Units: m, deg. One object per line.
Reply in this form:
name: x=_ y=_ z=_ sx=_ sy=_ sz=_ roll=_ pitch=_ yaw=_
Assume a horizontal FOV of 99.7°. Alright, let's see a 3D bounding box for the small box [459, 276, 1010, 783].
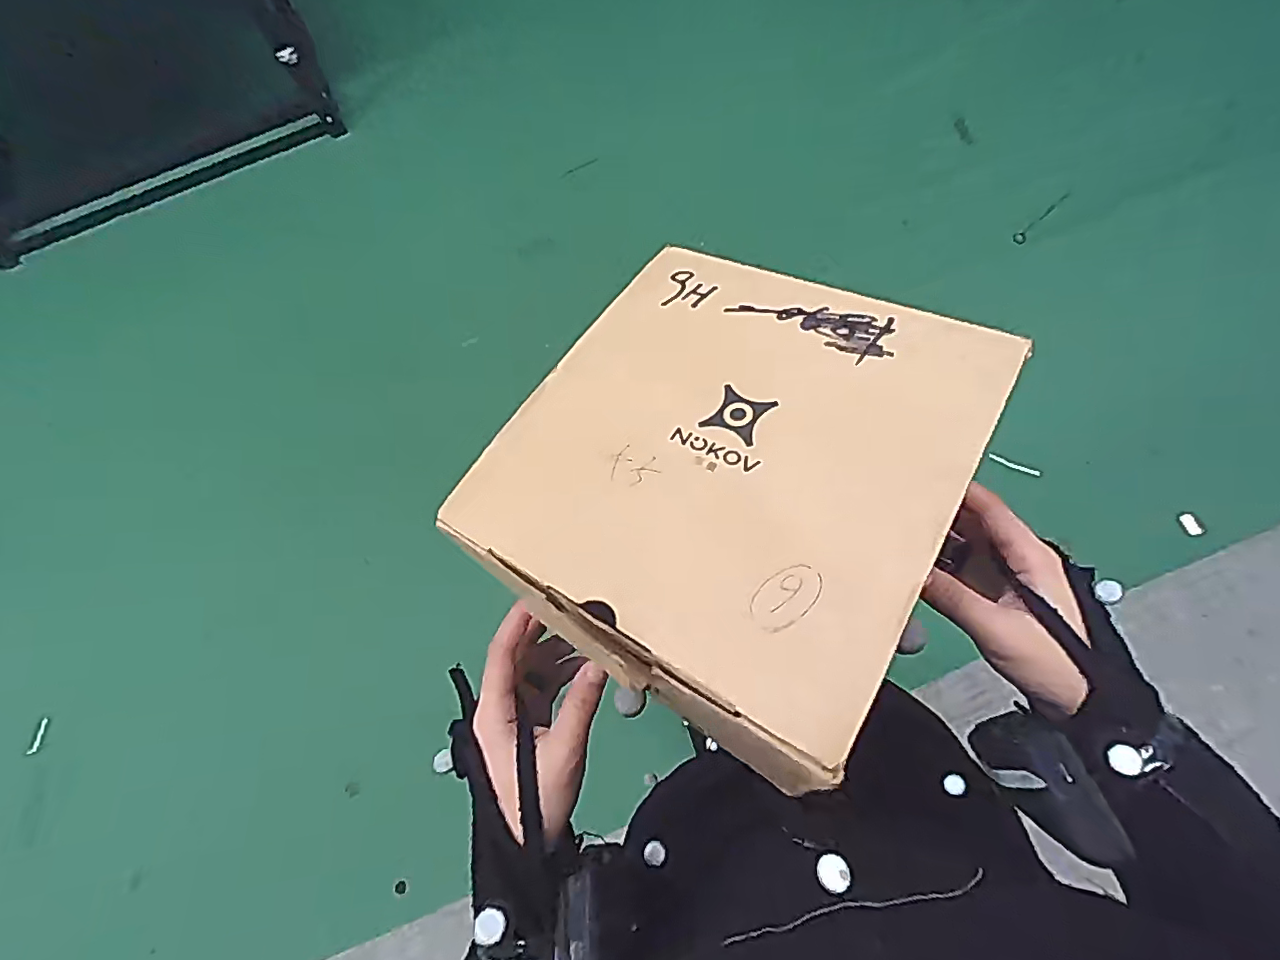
small box: x=0.051 y=0.032 z=0.285 sx=0.168 sy=0.176 sz=0.179 roll=26 pitch=68 yaw=25
